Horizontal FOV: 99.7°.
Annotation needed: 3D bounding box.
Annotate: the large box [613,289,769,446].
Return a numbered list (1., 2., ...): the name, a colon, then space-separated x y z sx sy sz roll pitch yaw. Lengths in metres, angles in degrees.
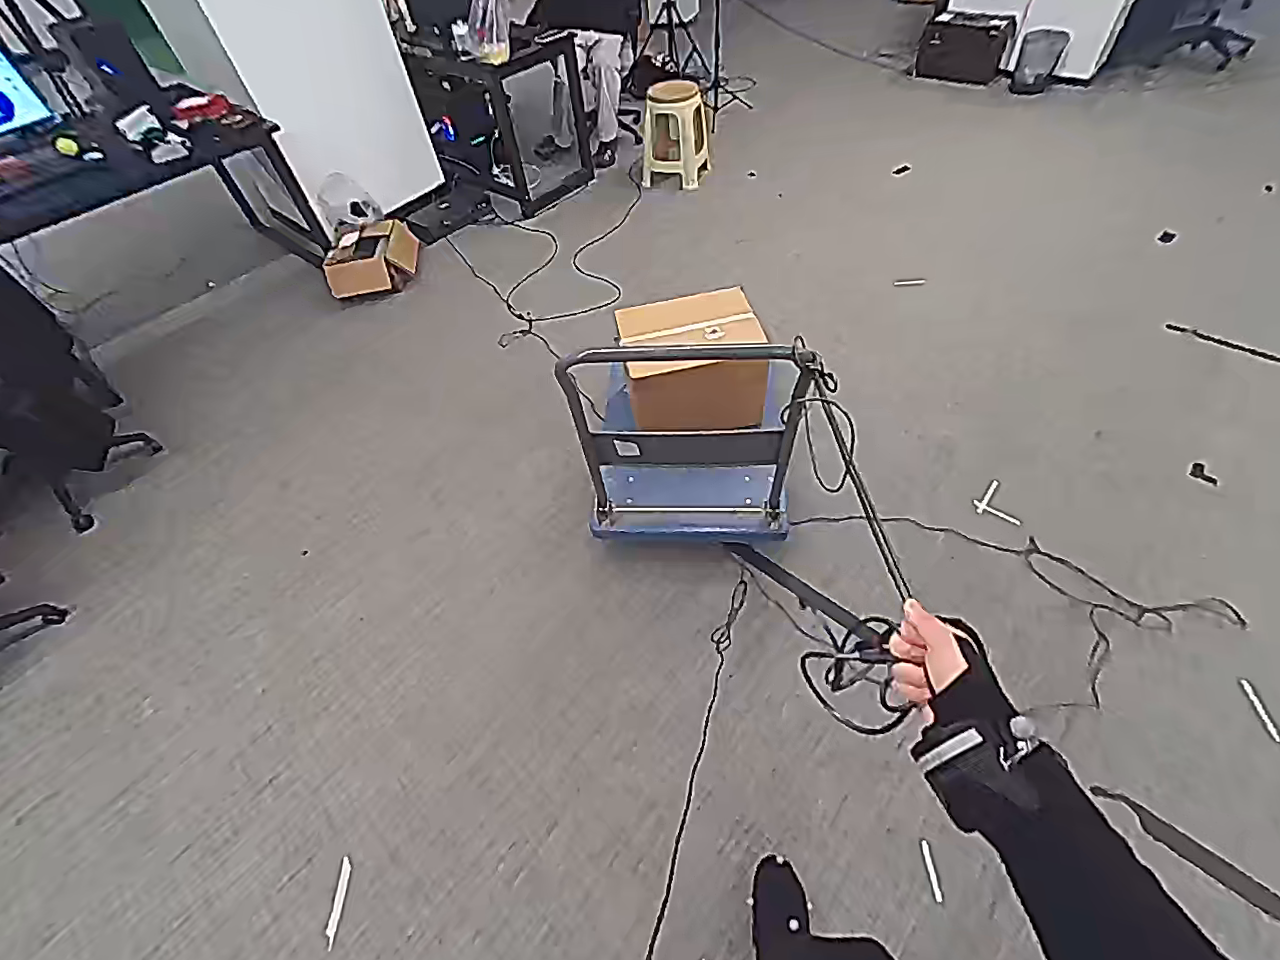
1. large box: 0.150 -0.348 1.699 0.408 0.320 0.320 -11 55 -2
